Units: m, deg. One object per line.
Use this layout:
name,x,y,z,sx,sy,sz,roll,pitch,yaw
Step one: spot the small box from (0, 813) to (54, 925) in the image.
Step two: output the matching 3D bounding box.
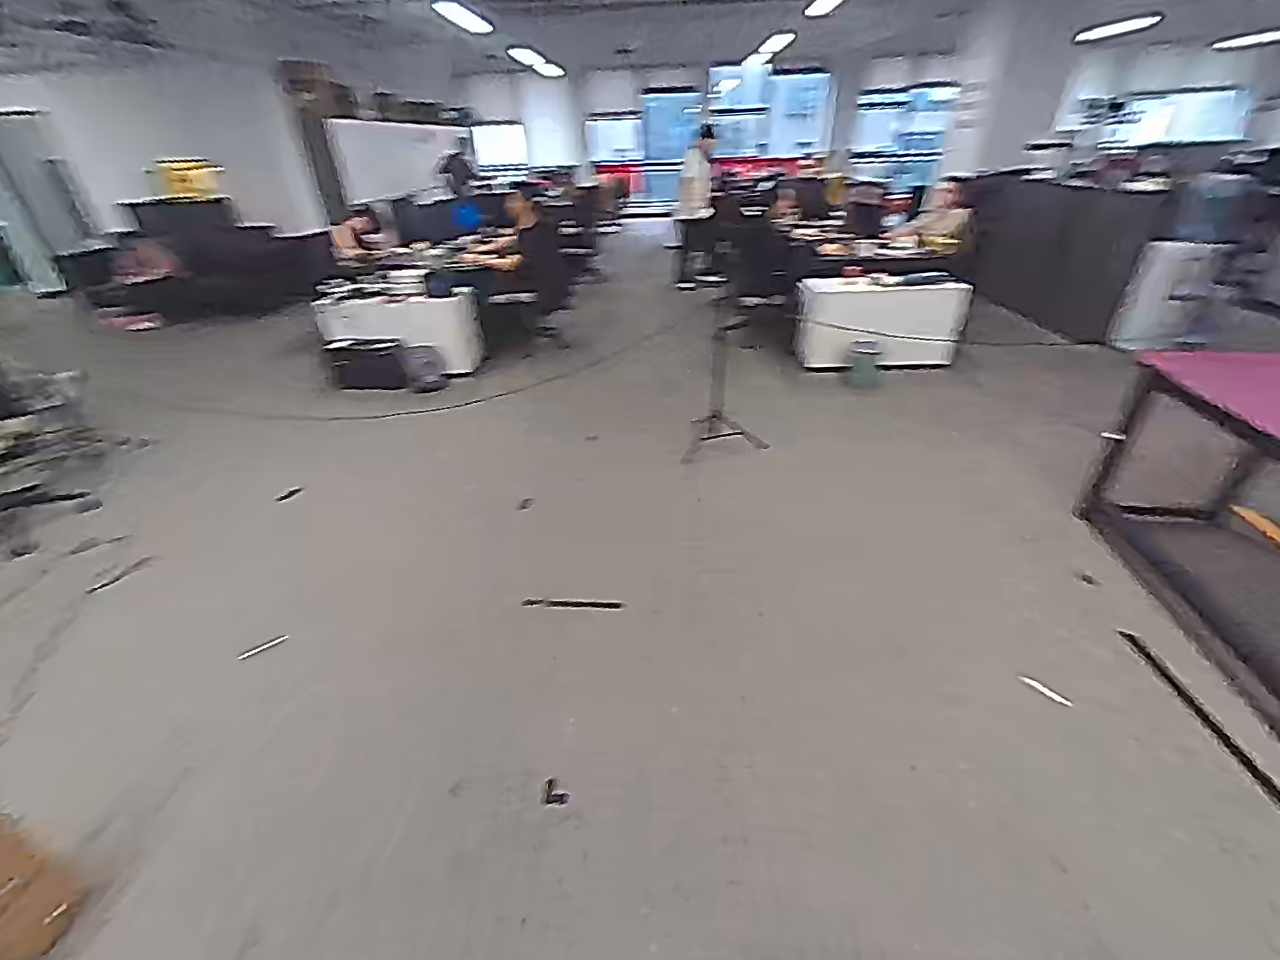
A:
small box,-1.451,0.857,1.173,0.168,0.176,0.179,-2,31,2
